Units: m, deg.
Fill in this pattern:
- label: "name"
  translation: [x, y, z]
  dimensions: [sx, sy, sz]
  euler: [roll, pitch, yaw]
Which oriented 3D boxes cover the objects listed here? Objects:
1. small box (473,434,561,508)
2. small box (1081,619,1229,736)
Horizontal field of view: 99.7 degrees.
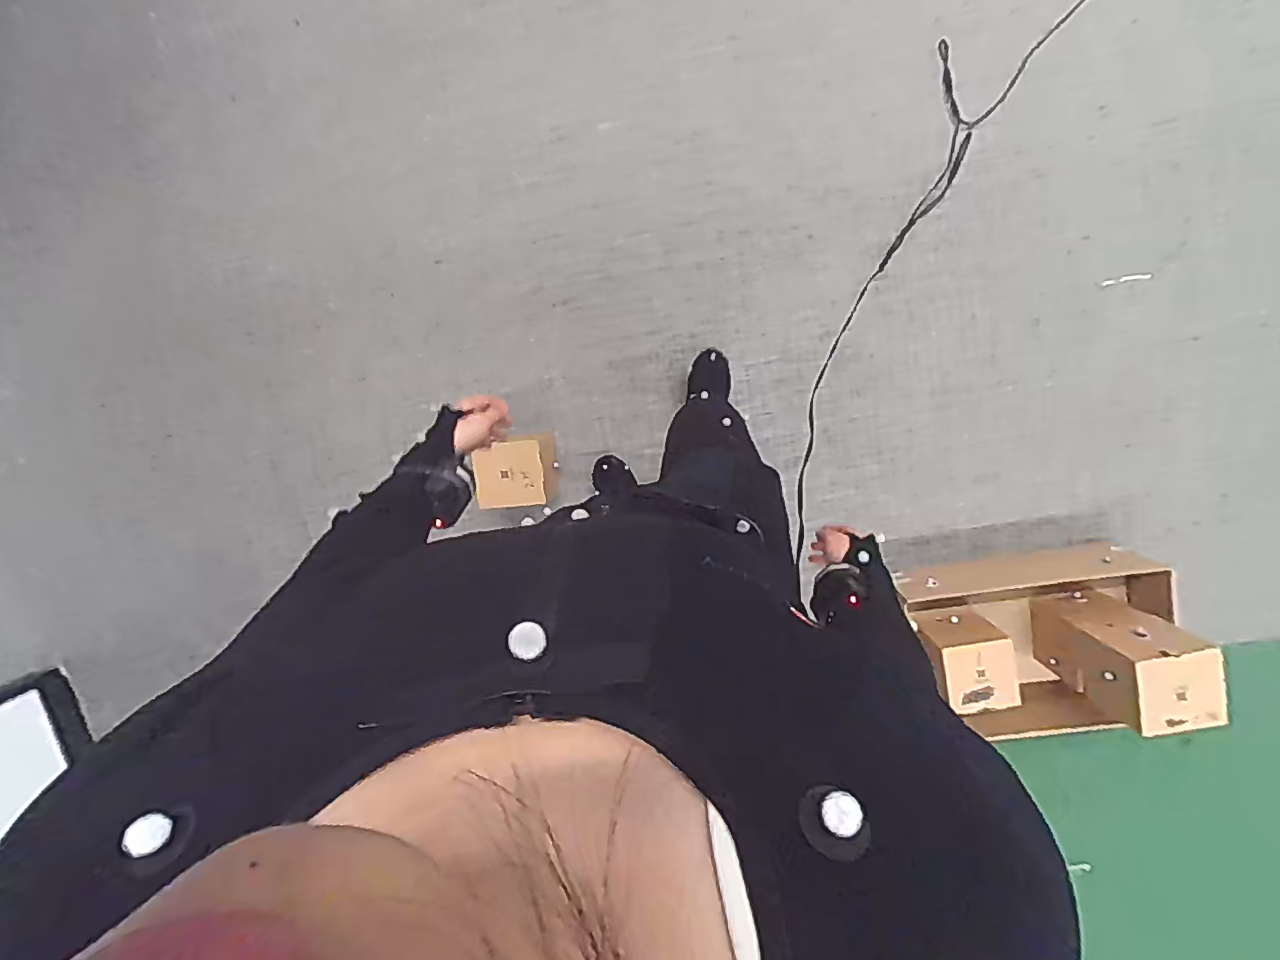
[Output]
- label: "small box"
  translation: [-0.316, -0.027, 1.418]
  dimensions: [0.179, 0.176, 0.168]
  euler: [-4, 100, 5]
- label: "small box"
  translation: [1.103, 0.416, 1.173]
  dimensions: [0.168, 0.176, 0.179]
  euler: [-12, 97, 6]
